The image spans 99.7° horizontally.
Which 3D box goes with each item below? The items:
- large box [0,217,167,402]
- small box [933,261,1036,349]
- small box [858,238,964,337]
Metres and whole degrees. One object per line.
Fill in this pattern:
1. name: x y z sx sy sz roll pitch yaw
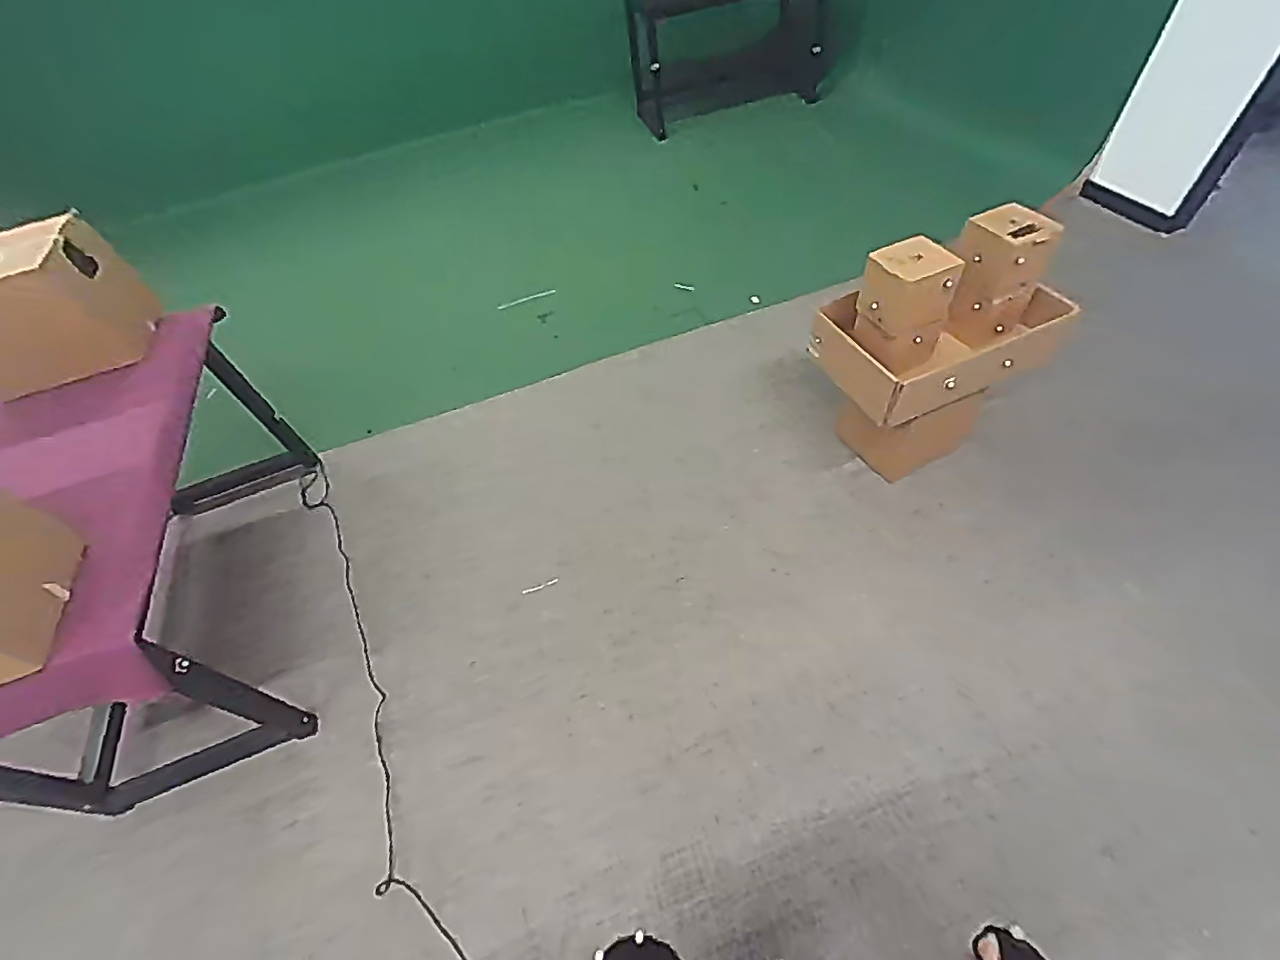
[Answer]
1. large box: -1.693 -0.479 1.532 0.408 0.320 0.320 -19 54 -7
2. small box: 1.035 -0.531 1.646 0.168 0.176 0.179 -24 53 -12
3. small box: 0.725 -0.521 1.469 0.179 0.176 0.168 -22 52 -9
